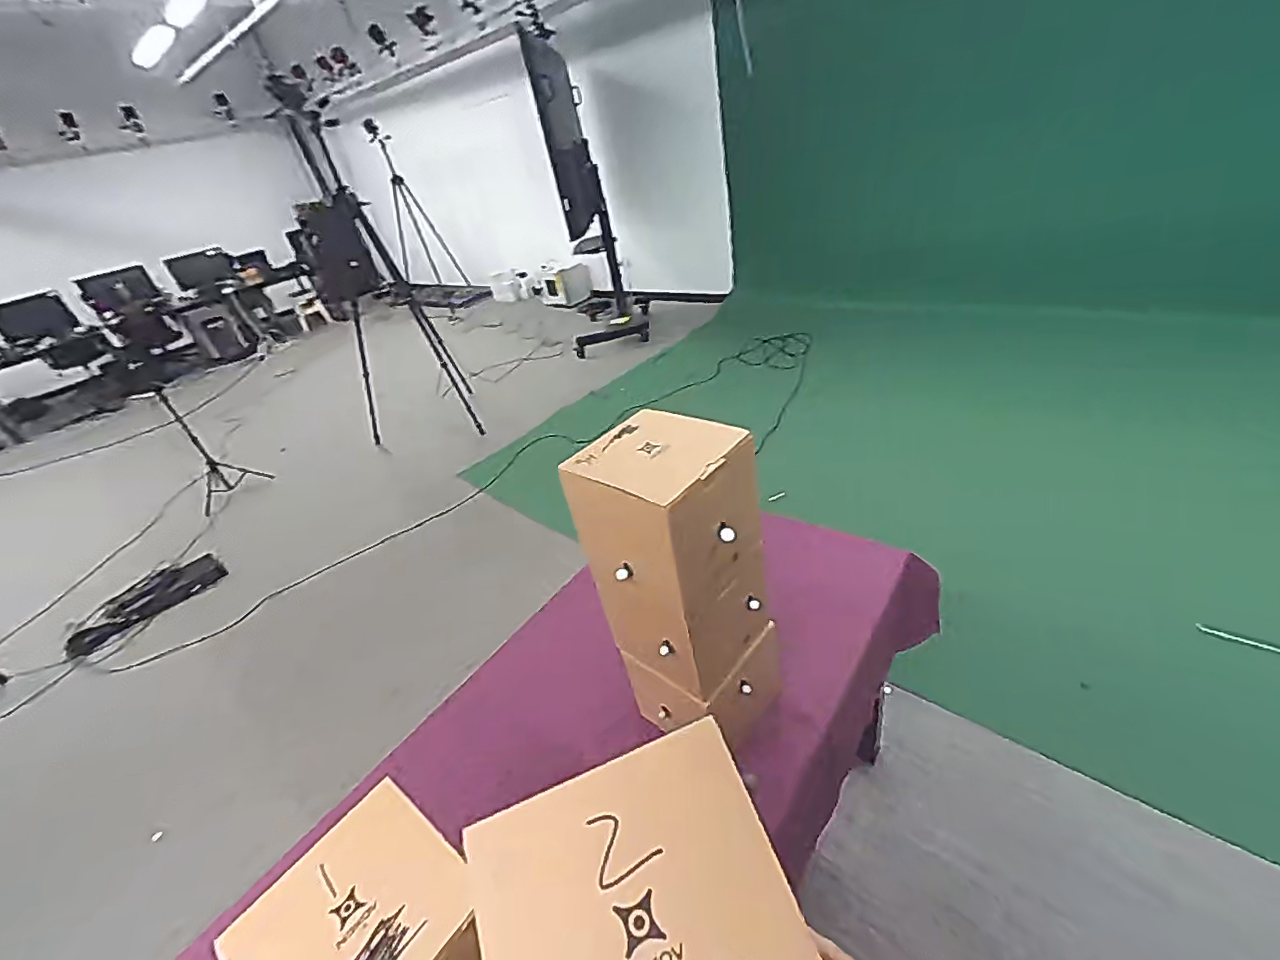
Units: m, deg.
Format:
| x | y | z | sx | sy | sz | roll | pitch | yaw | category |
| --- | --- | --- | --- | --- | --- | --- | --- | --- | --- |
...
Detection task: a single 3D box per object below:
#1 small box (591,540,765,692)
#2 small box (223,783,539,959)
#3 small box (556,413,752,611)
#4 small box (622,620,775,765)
| x | y | z | sx | sy | sz | roll | pitch | yaw | category |
| --- | --- | --- | --- | --- | --- | --- | --- | --- | --- |
| 0.063 | 0.171 | 0.777 | 0.179 | 0.176 | 0.168 | 19 | 45 | 41 | small box |
| -0.221 | 0.432 | 0.492 | 0.179 | 0.176 | 0.168 | 14 | 41 | 38 | small box |
| 0.027 | 0.038 | 0.687 | 0.179 | 0.176 | 0.168 | 19 | 44 | 40 | small box |
| 0.103 | 0.306 | 0.859 | 0.168 | 0.176 | 0.179 | 20 | 46 | 41 | small box |
